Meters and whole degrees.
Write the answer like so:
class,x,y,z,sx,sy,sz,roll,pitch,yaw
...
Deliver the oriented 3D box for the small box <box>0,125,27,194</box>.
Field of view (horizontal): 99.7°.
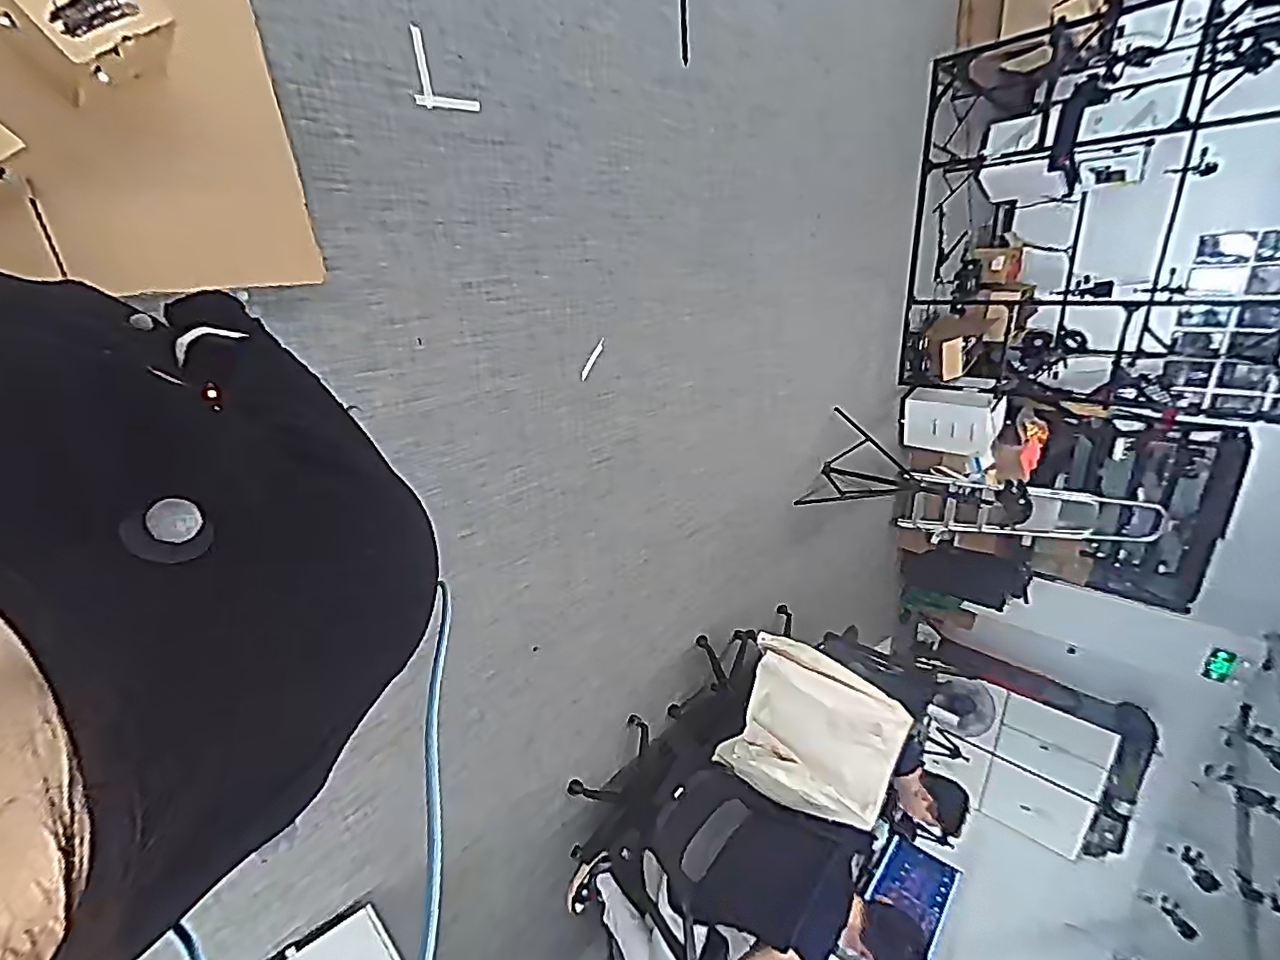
class,x,y,z,sx,sy,sz,roll,pitch,yaw
small box,-0.988,-0.451,0.716,0.168,0.176,0.179,50,61,-40
